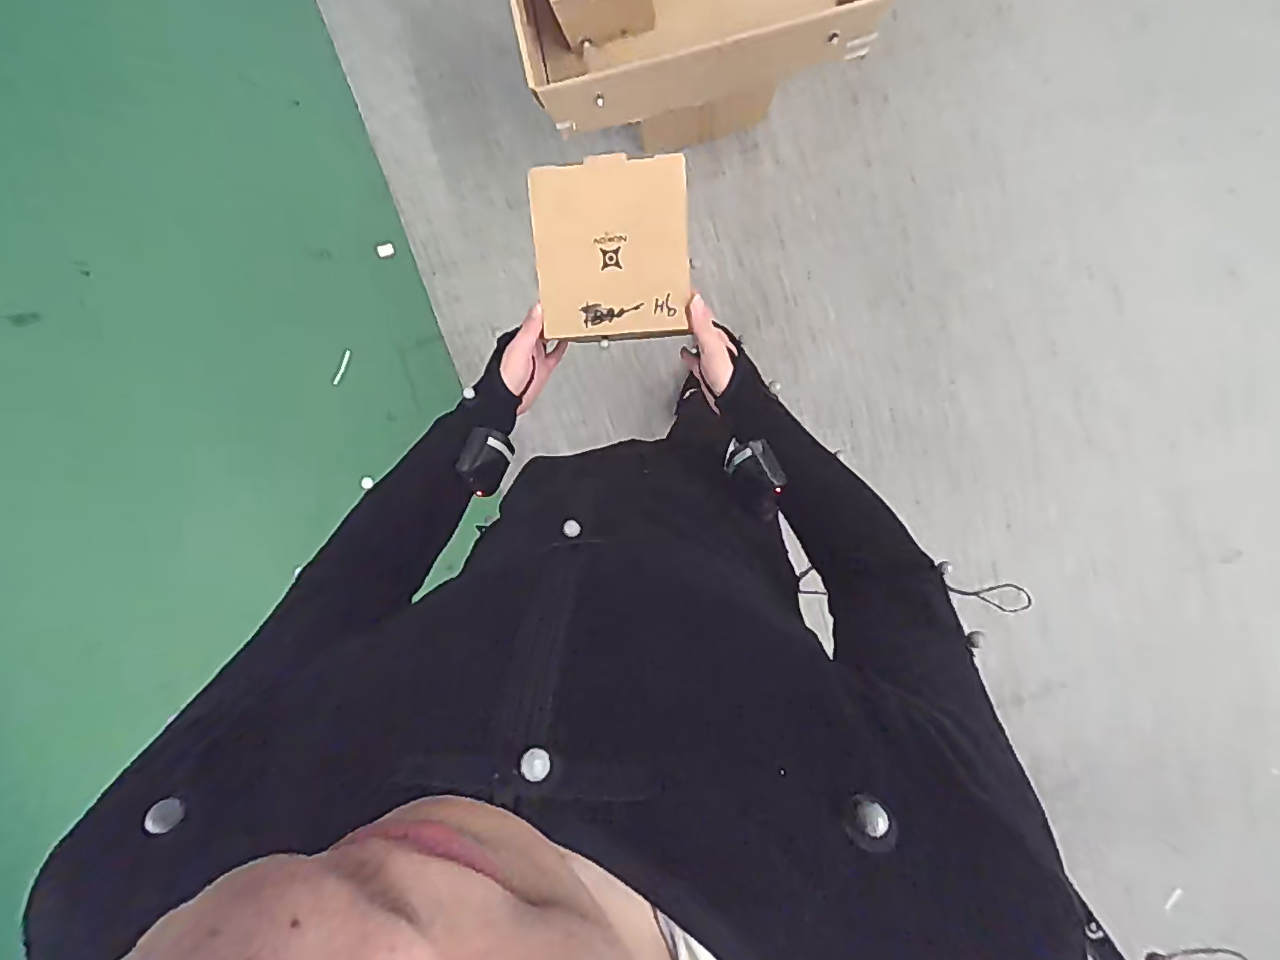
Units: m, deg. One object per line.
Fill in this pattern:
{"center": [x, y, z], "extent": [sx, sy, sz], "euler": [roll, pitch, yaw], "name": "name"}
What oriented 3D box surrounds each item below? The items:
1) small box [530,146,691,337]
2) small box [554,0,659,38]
{"center": [-0.024, -0.272, 0.657], "extent": [0.168, 0.176, 0.179], "euler": [-2, 103, 8], "name": "small box"}
{"center": [-0.067, -0.886, 0.904], "extent": [0.168, 0.176, 0.179], "euler": [-10, 103, 10], "name": "small box"}
